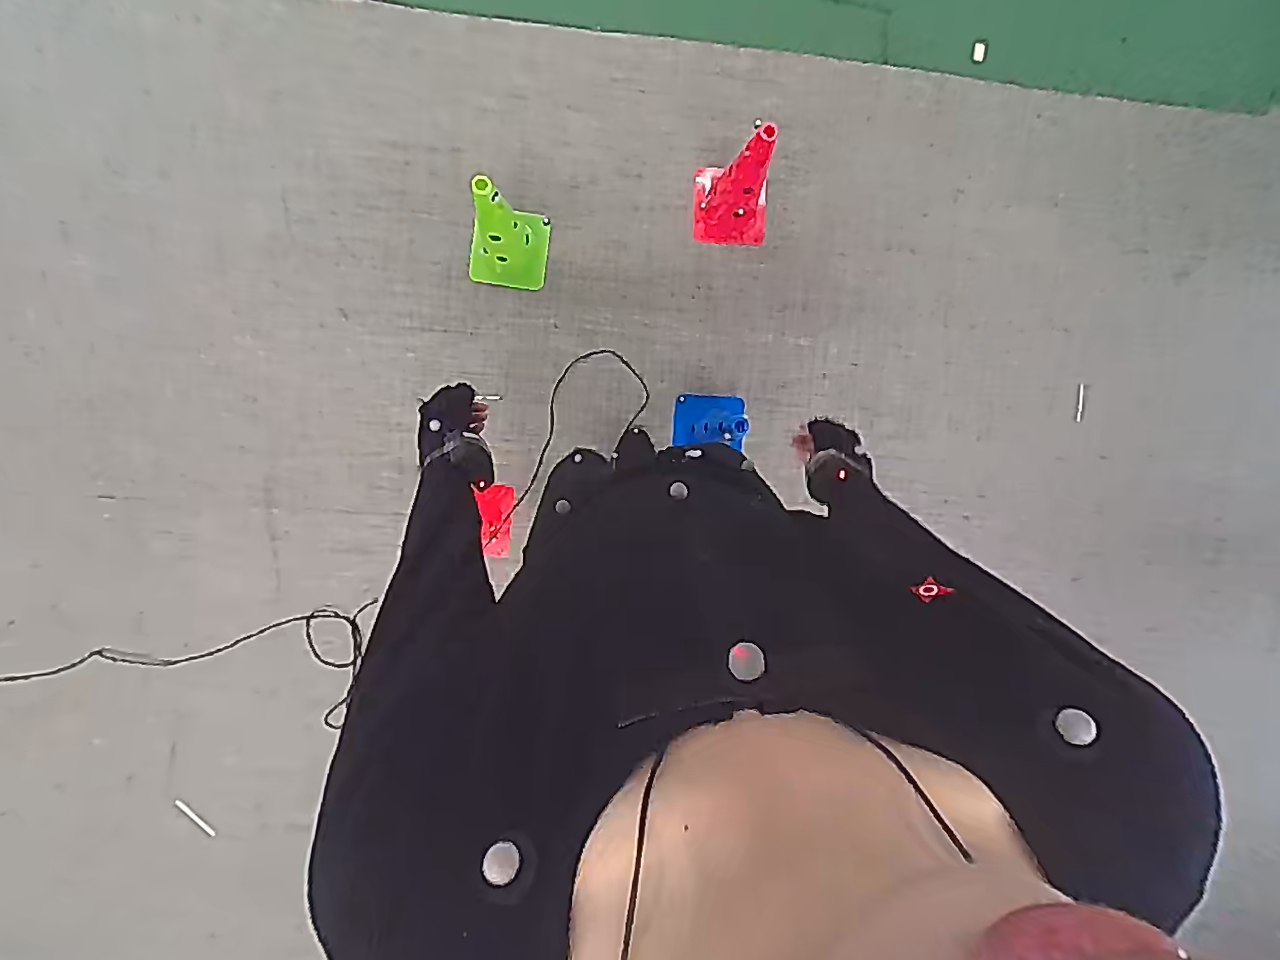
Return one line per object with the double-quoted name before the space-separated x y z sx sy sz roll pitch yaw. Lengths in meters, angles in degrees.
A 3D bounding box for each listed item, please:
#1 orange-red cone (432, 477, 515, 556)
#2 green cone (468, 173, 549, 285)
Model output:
"orange-red cone" -0.434 0.107 1.307 0.198 0.360 0.199 9 91 -6
"green cone" -0.340 -0.618 1.268 0.200 0.368 0.202 6 94 -4
